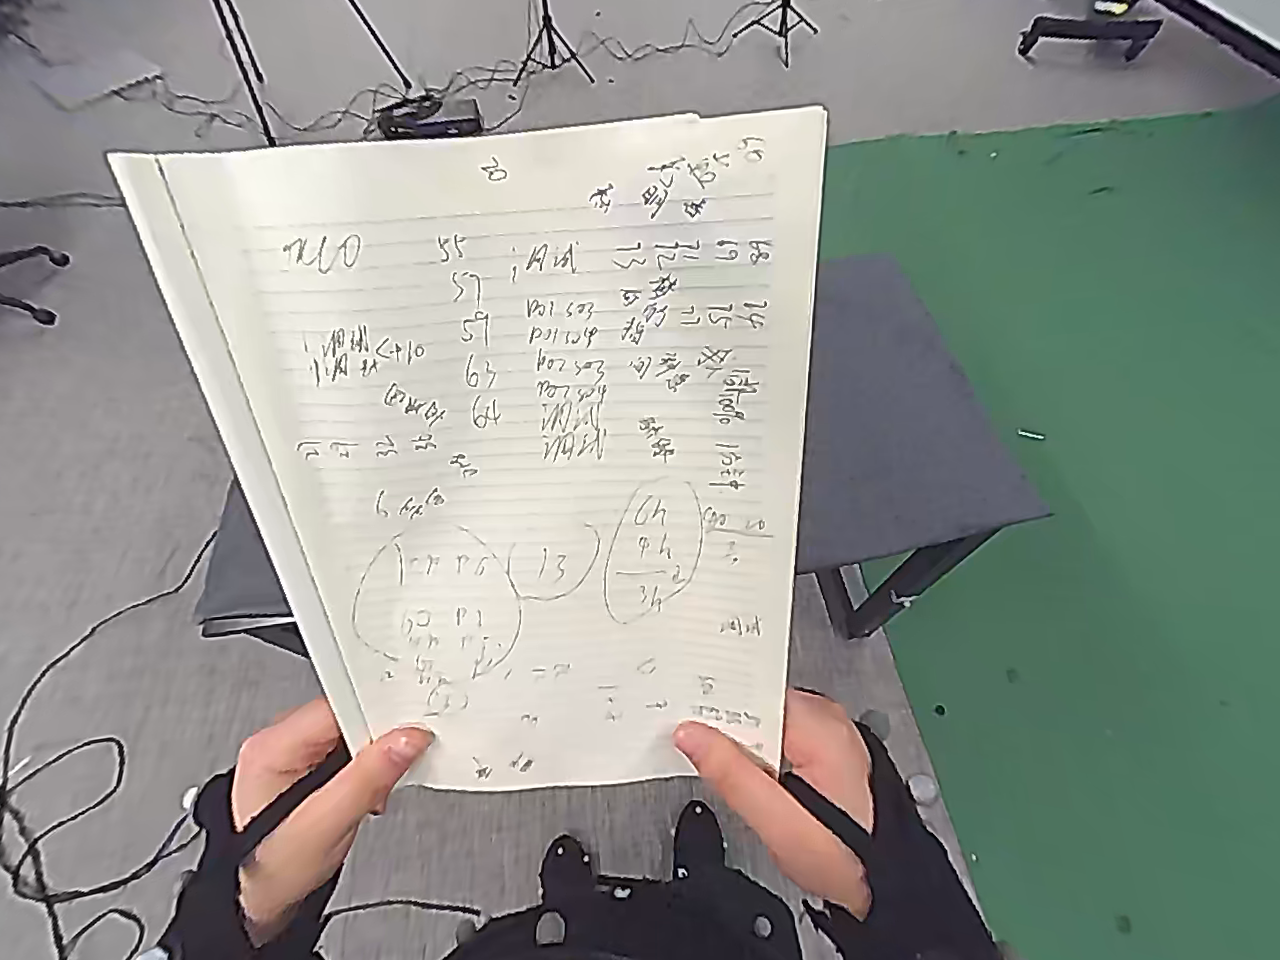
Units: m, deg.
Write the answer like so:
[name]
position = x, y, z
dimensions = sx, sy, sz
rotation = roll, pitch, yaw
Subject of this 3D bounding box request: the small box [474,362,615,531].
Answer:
[small box]
position = -0.126, -0.044, 0.778
dimensions = 0.168, 0.176, 0.179
rotation = -5, 58, 0
